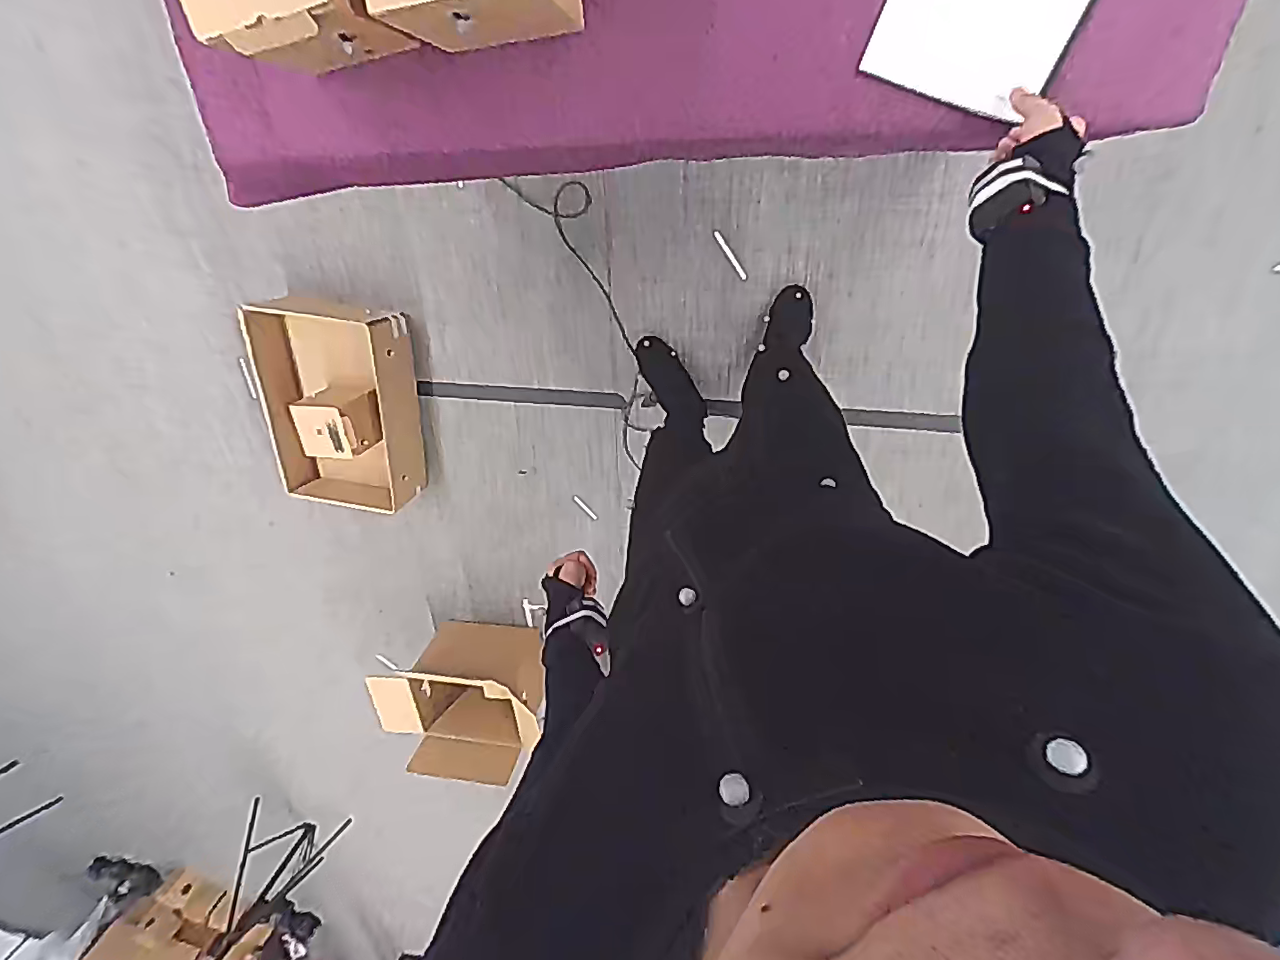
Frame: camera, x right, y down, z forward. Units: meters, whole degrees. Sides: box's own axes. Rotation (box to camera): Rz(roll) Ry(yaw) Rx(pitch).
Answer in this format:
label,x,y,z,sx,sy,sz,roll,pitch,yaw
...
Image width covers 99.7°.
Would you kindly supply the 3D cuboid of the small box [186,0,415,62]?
label,x,y,z,sx,sy,sz,roll,pitch,yaw
small box,-0.372,-0.572,0.573,0.168,0.176,0.179,-3,117,12
